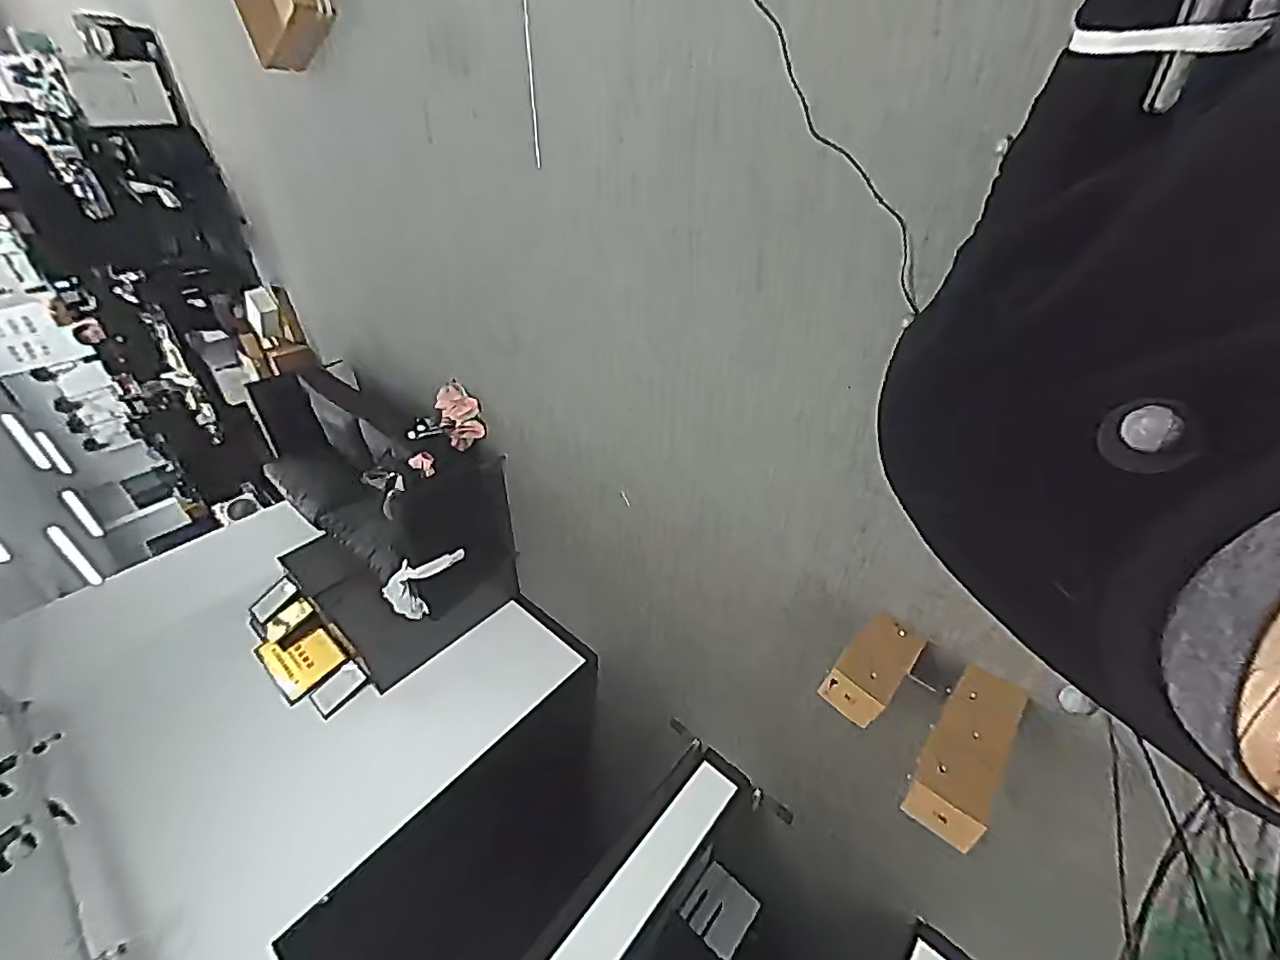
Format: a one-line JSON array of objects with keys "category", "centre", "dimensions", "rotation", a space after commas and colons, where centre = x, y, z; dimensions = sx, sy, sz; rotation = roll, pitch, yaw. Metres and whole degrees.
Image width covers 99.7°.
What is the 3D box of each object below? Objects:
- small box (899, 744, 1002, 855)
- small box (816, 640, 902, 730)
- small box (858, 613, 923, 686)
[{"category": "small box", "centre": [0.842, 0.855, 1.468], "dimensions": [0.179, 0.176, 0.168], "rotation": [27, 134, 31]}, {"category": "small box", "centre": [0.706, 0.653, 1.738], "dimensions": [0.179, 0.176, 0.168], "rotation": [35, 137, 23]}, {"category": "small box", "centre": [0.826, 0.592, 1.835], "dimensions": [0.168, 0.176, 0.179], "rotation": [36, 137, 24]}]
